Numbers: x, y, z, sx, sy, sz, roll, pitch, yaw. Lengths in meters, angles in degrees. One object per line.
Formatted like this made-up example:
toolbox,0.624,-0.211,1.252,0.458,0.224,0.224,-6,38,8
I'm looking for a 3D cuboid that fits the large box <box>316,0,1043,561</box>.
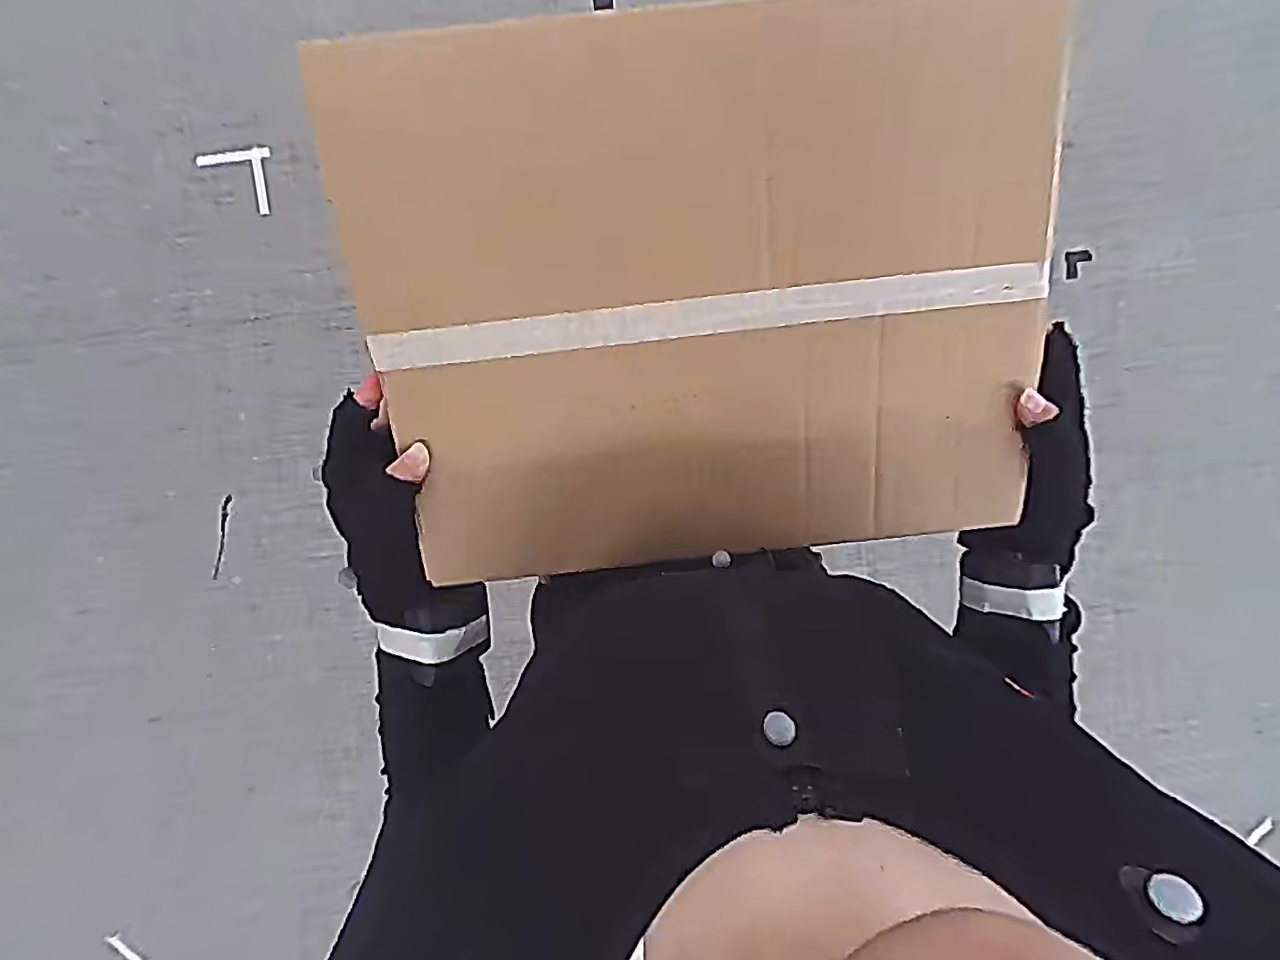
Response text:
large box,0.030,-0.154,0.474,0.408,0.320,0.320,-6,108,0
